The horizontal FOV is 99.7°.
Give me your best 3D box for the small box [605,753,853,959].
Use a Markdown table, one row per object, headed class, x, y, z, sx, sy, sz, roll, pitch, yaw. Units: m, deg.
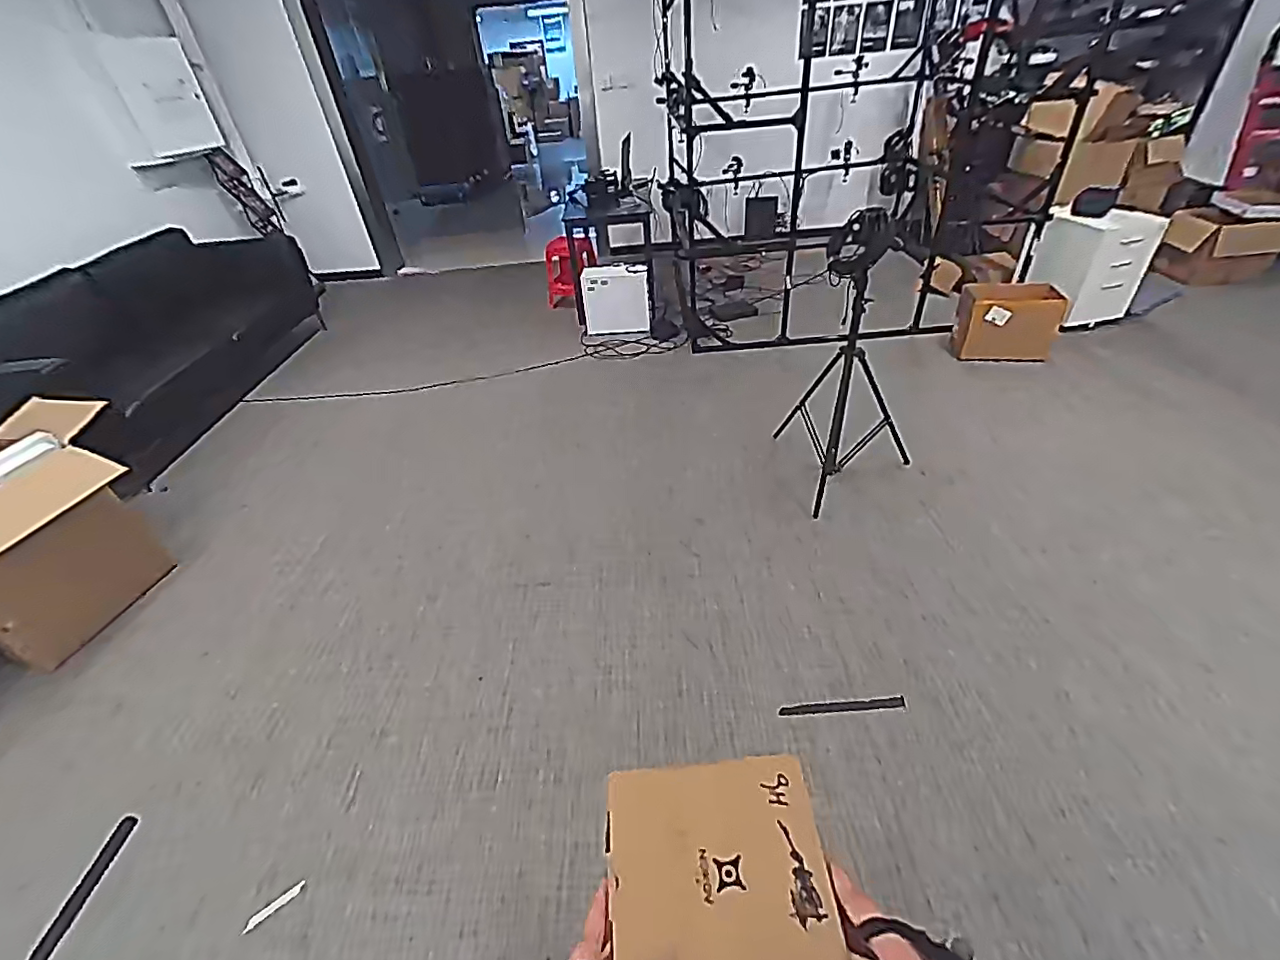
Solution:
| class | x | y | z | sx | sy | sz | roll | pitch | yaw |
| --- | --- | --- | --- | --- | --- | --- | --- | --- | --- |
| small box | 0.066 | 0.364 | 0.478 | 0.179 | 0.176 | 0.168 | -5 | 45 | -1 |
